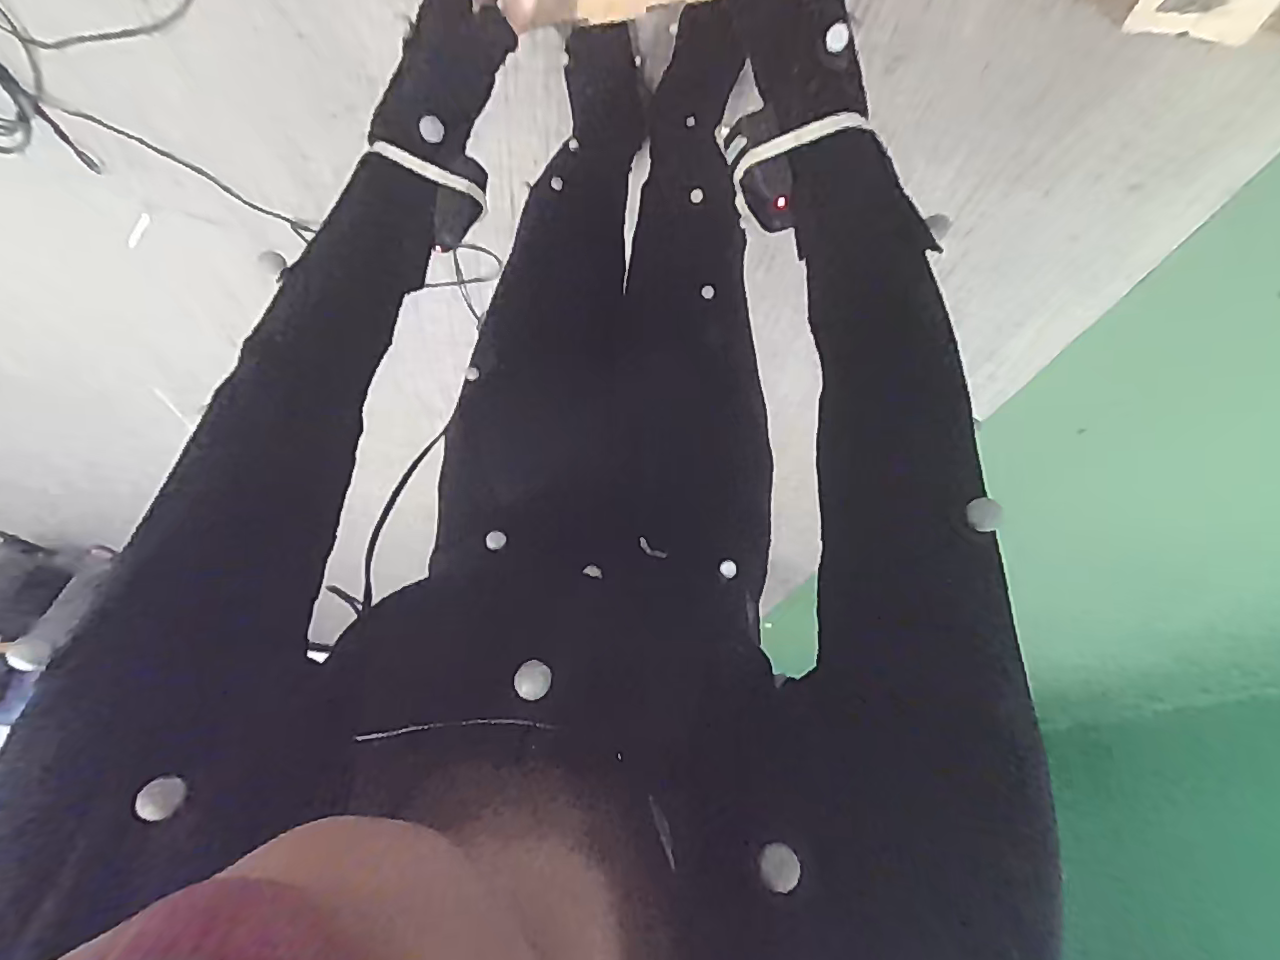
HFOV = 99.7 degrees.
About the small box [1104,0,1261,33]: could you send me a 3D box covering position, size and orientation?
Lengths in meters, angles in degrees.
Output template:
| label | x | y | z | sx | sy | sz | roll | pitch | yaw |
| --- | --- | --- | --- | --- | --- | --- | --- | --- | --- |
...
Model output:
| label | x | y | z | sx | sy | sz | roll | pitch | yaw |
| --- | --- | --- | --- | --- | --- | --- | --- | --- | --- |
| small box | 0.702 | -0.702 | 0.666 | 0.168 | 0.176 | 0.179 | 6 | 147 | -2 |
